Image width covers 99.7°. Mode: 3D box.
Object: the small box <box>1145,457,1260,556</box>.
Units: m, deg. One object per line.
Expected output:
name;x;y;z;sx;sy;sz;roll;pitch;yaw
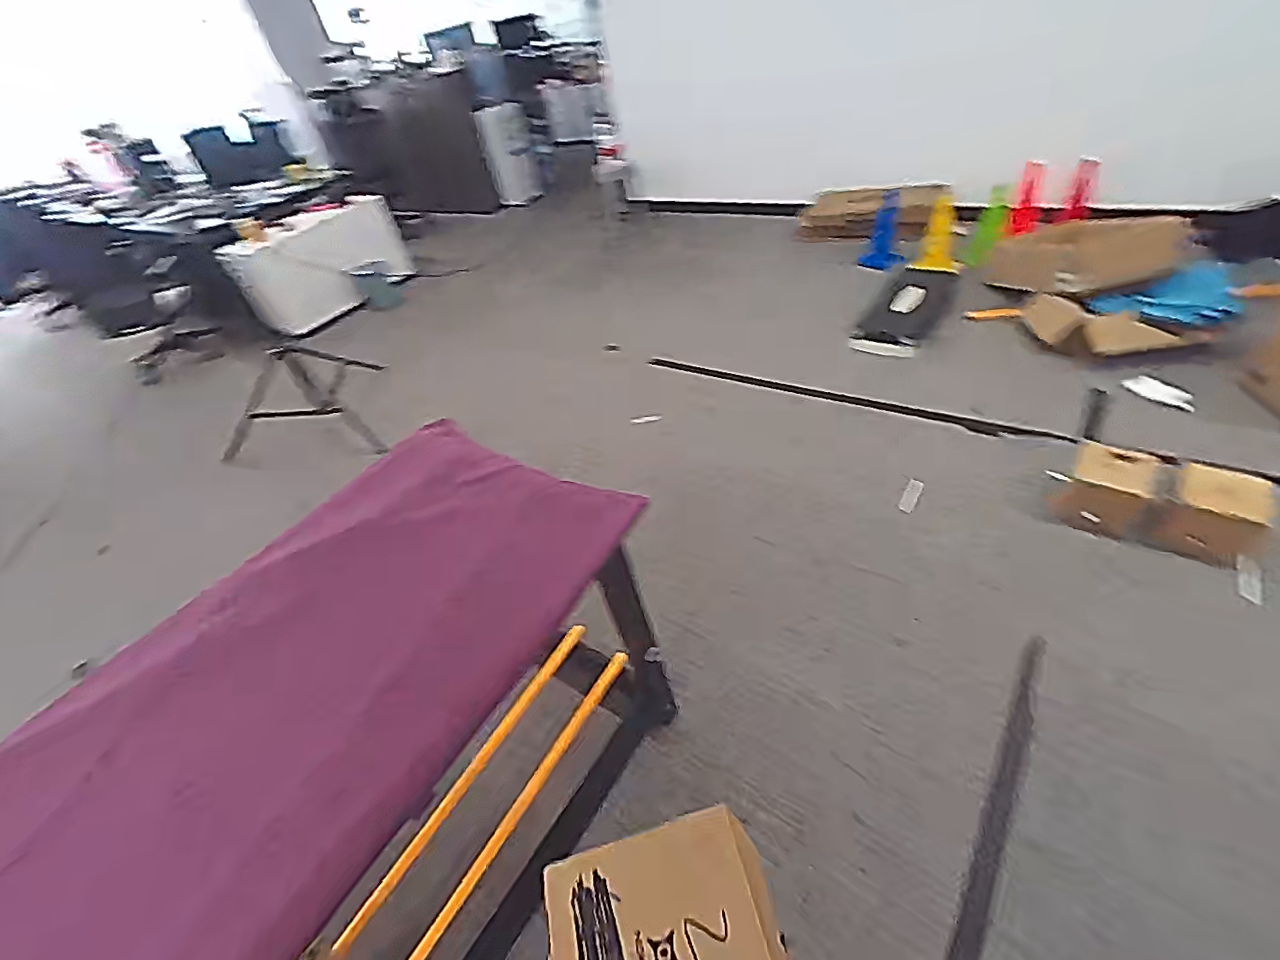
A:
small box;1.508;0.071;1.458;0.168;0.176;0.179;20;52;31

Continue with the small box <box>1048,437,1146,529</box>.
small box;1.320;0.009;1.568;0.168;0.176;0.179;21;54;32

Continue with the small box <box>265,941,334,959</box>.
small box;-0.588;0.940;0.916;0.179;0.176;0.168;17;51;27
